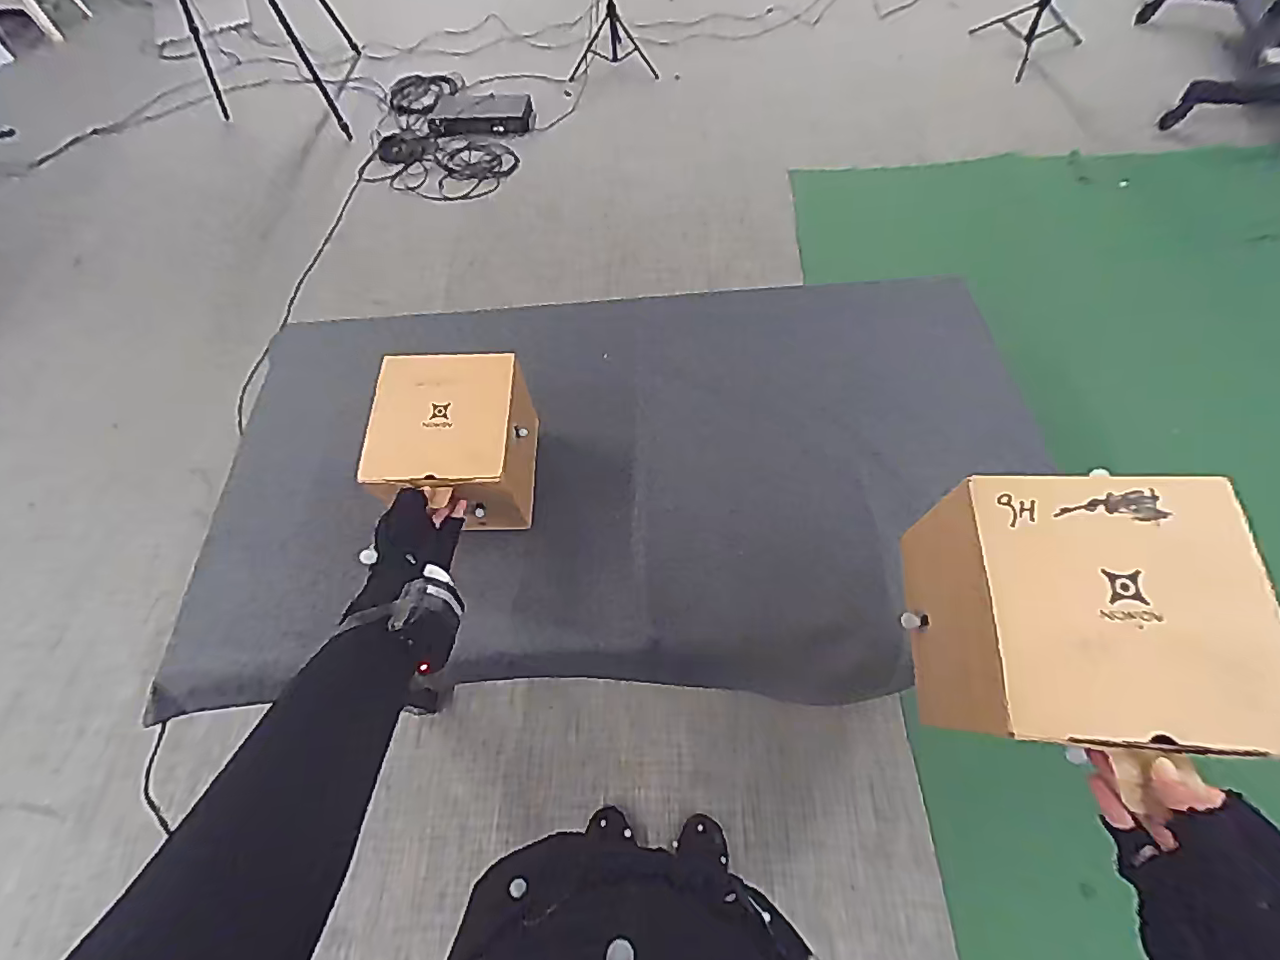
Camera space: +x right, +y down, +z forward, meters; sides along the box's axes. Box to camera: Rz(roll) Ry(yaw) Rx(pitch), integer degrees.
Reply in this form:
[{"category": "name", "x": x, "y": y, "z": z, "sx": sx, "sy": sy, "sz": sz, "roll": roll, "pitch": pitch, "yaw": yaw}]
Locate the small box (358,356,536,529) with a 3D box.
[{"category": "small box", "x": -0.235, "y": -0.040, "z": 0.709, "sx": 0.168, "sy": 0.176, "sz": 0.179, "roll": -1, "pitch": 64, "yaw": -1}]
